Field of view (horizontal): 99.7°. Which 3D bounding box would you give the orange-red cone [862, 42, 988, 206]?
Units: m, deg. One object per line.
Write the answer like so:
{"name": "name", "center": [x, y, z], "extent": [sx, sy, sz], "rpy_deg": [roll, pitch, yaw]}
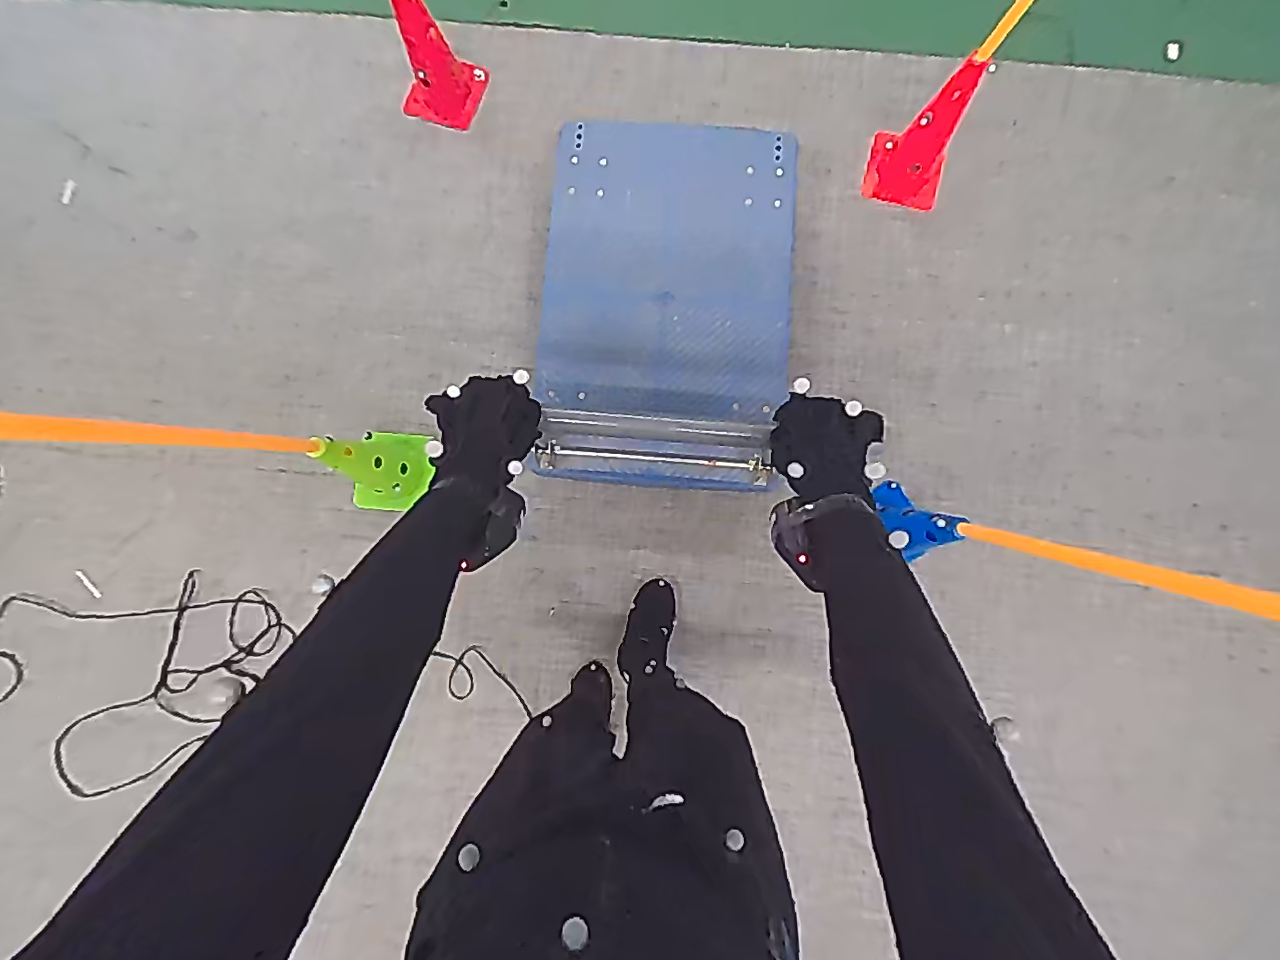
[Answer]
{"name": "orange-red cone", "center": [0.708, -0.864, 1.287], "extent": [0.198, 0.360, 0.199], "rpy_deg": [16, 85, 4]}
